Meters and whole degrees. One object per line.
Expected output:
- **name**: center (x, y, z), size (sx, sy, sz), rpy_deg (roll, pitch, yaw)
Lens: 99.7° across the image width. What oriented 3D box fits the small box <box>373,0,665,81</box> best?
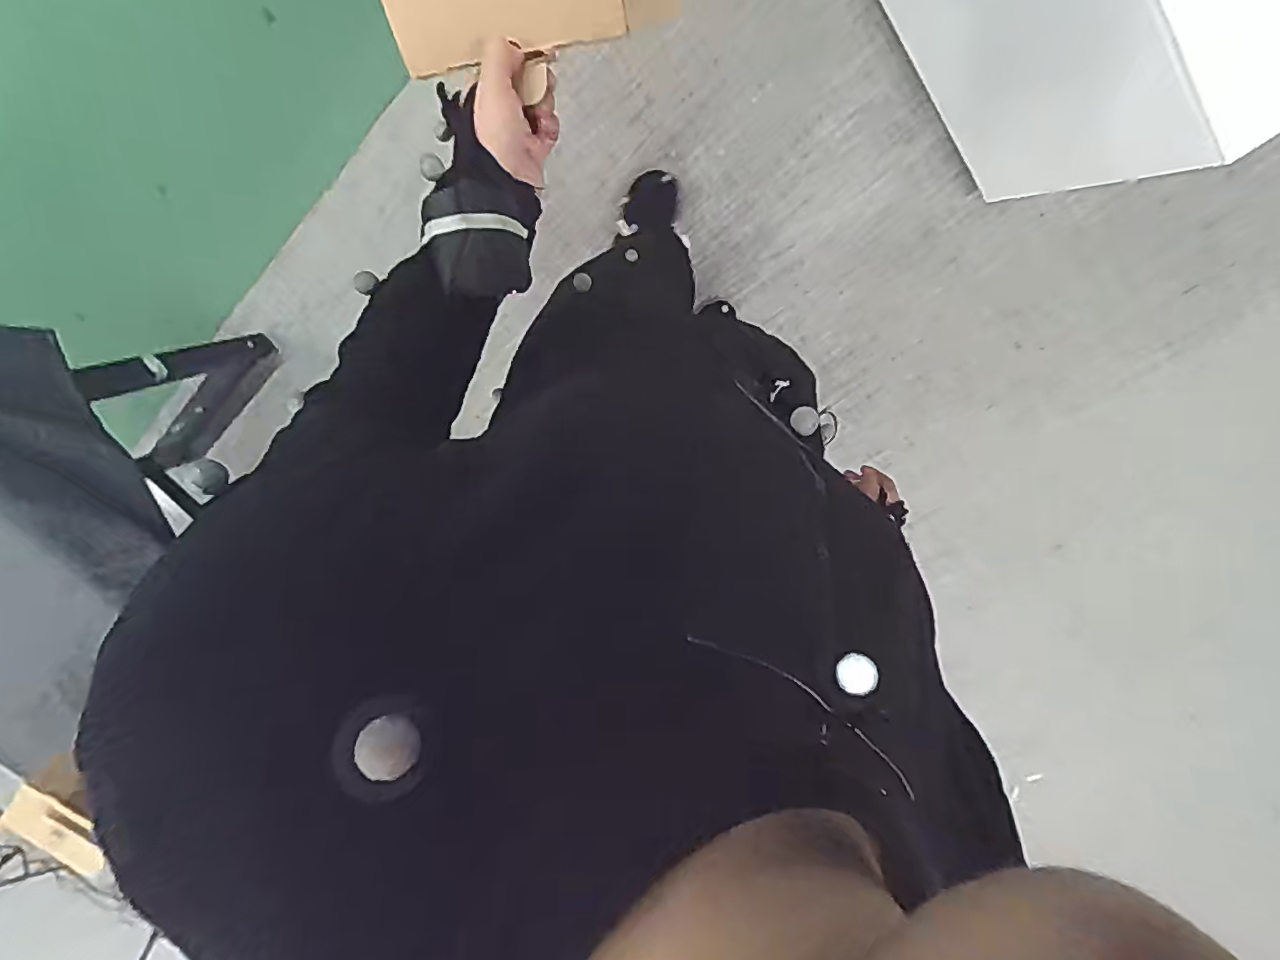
- **small box**: center (-0.086, -0.398, 0.357), size (0.168, 0.176, 0.179), rpy_deg (1, 135, 18)
